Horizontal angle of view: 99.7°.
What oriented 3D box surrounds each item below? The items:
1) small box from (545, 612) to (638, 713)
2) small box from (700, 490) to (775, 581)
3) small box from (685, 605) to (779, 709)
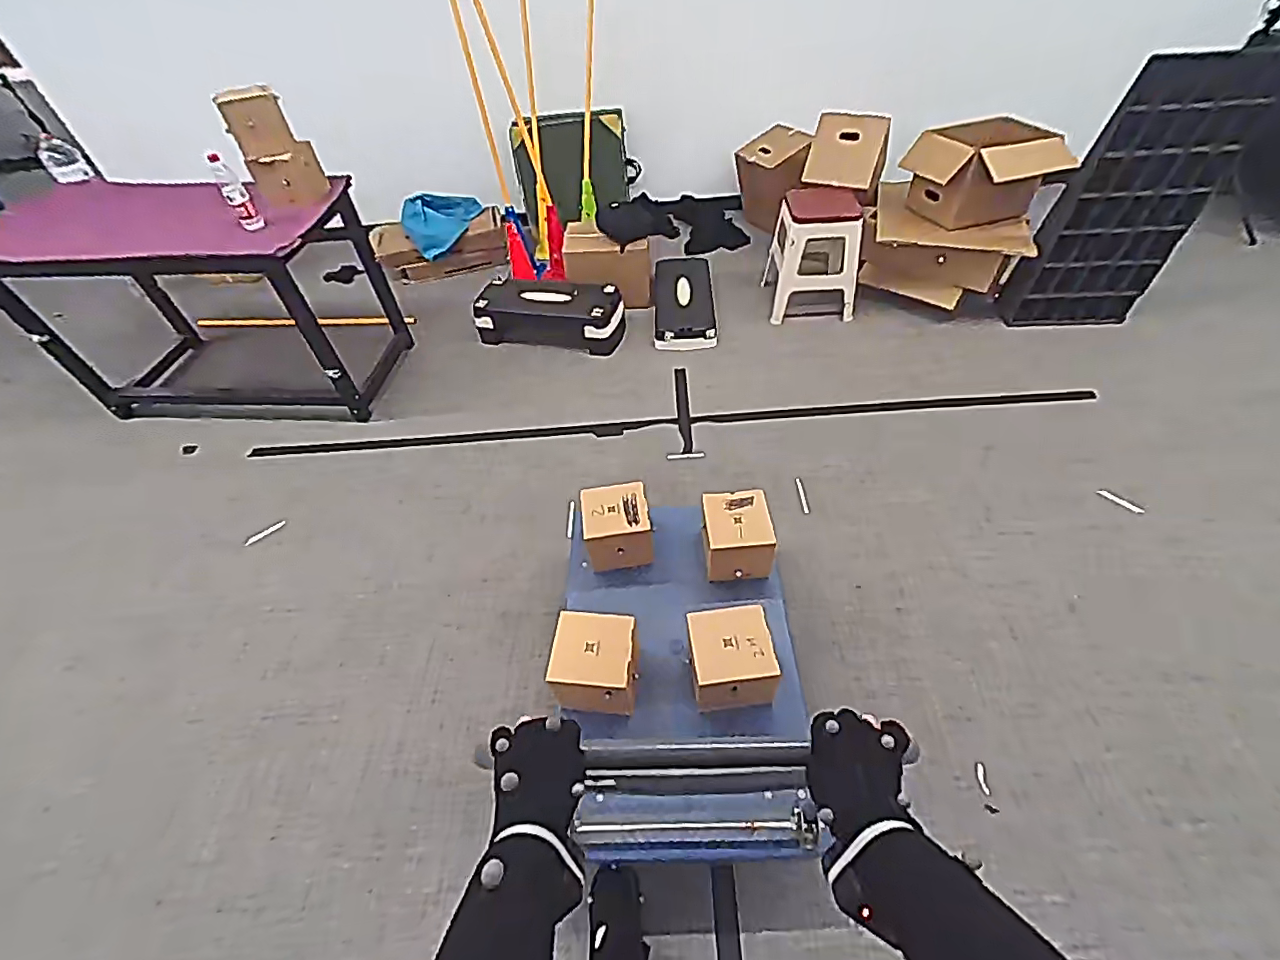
[{"bbox_3d":[-0.102,0.420,1.239,0.179,0.176,0.168,3,49,6],"label":"small box"},{"bbox_3d":[0.253,0.149,1.442,0.168,0.176,0.179,-5,50,1],"label":"small box"},{"bbox_3d":[0.201,0.404,1.225,0.179,0.176,0.168,-7,49,-1],"label":"small box"}]
